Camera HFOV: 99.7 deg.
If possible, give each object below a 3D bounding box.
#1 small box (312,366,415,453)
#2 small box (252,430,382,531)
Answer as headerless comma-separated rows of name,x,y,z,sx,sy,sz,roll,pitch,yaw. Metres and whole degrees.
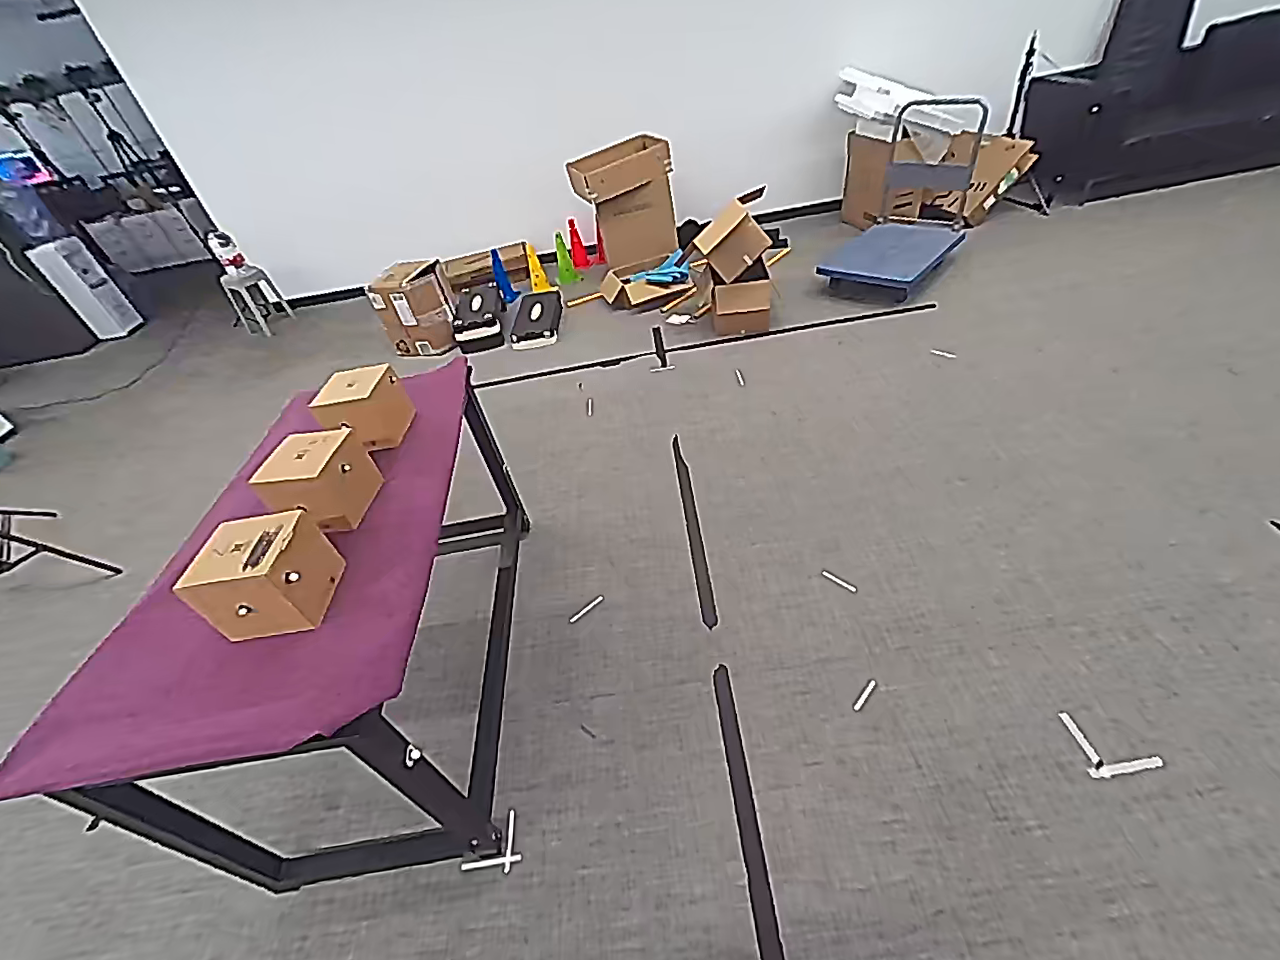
small box,-0.747,-0.188,1.486,0.168,0.176,0.179,-9,40,5
small box,-0.736,0.007,1.259,0.168,0.176,0.179,-4,41,7
